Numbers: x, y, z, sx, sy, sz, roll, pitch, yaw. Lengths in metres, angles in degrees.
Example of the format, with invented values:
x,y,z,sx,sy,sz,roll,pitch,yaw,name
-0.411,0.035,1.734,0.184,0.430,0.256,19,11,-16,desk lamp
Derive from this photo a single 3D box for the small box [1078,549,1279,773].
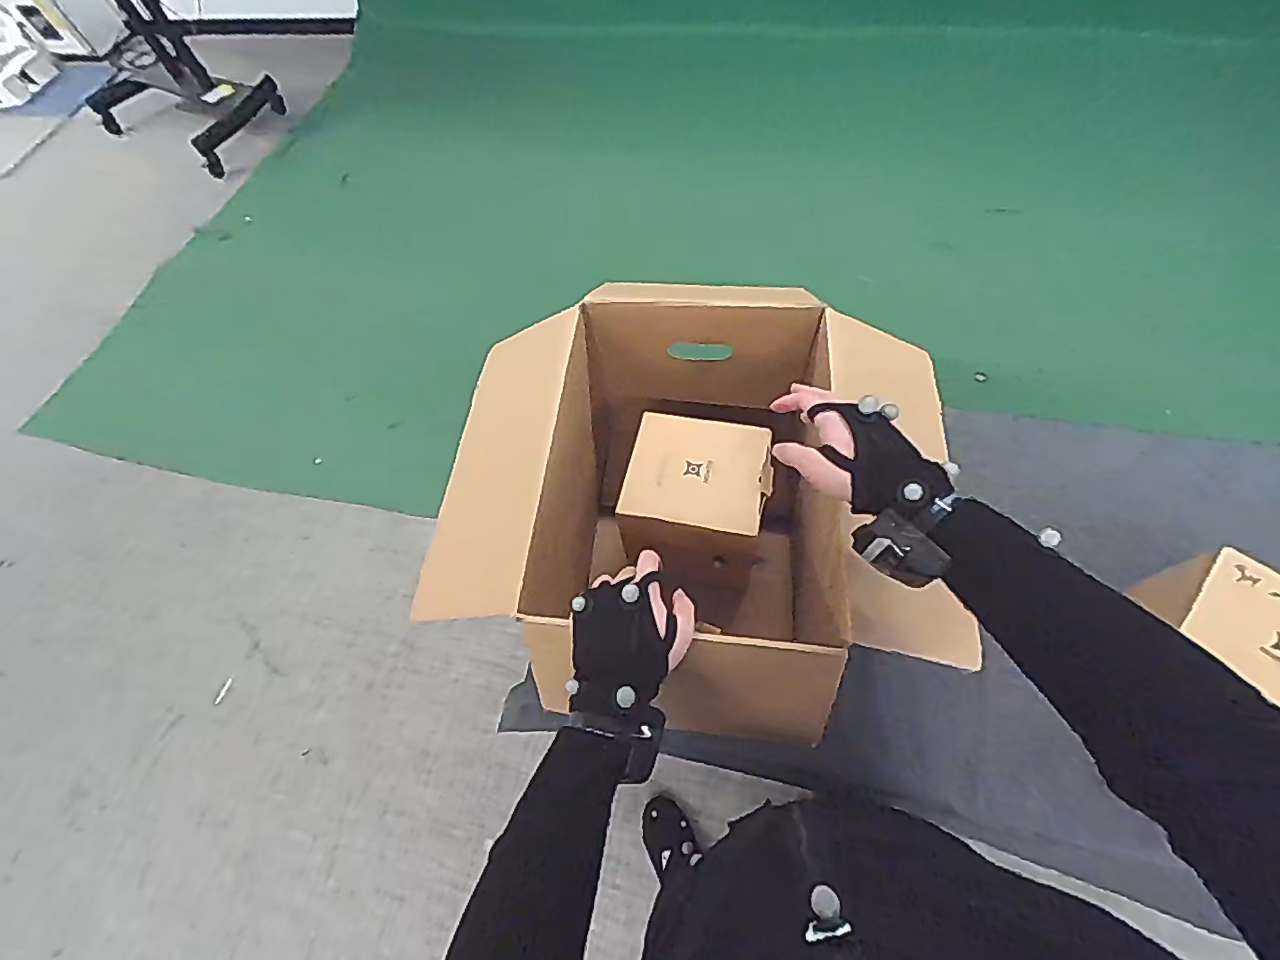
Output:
x,y,z,sx,sy,sz,roll,pitch,yaw,name
0.672,0.219,0.634,0.179,0.176,0.168,-43,66,-15,small box
